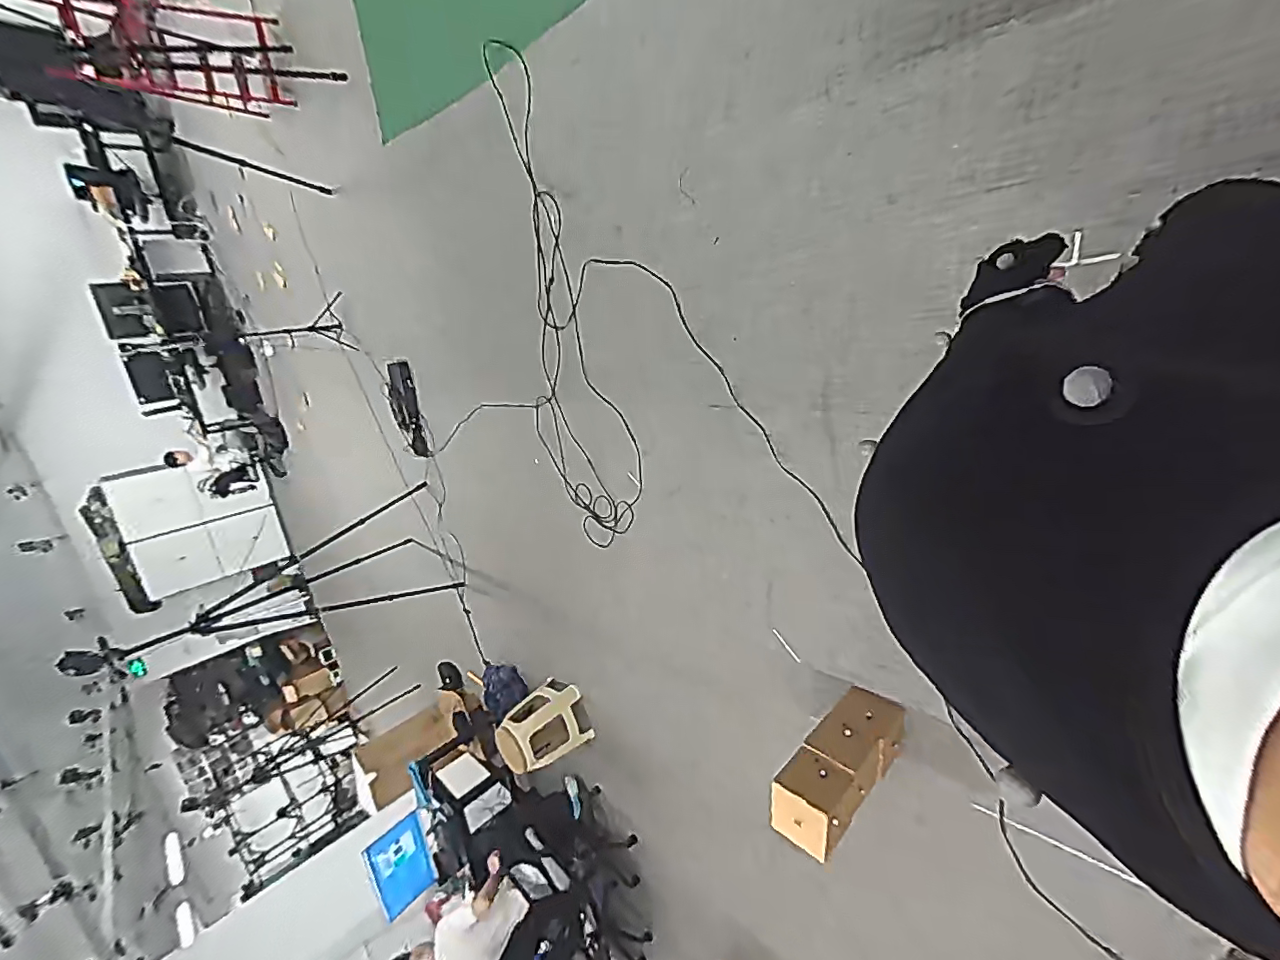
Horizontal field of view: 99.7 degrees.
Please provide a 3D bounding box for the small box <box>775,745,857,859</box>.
[{"bbox_3d":[0.498,0.900,1.526,0.168,0.176,0.179,14,116,43],"label":"small box"}]

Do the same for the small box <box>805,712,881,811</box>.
[{"bbox_3d":[0.611,0.844,1.629,0.168,0.176,0.179,15,117,43],"label":"small box"}]

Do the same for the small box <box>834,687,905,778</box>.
[{"bbox_3d":[0.731,0.798,1.732,0.179,0.176,0.168,13,116,43],"label":"small box"}]
